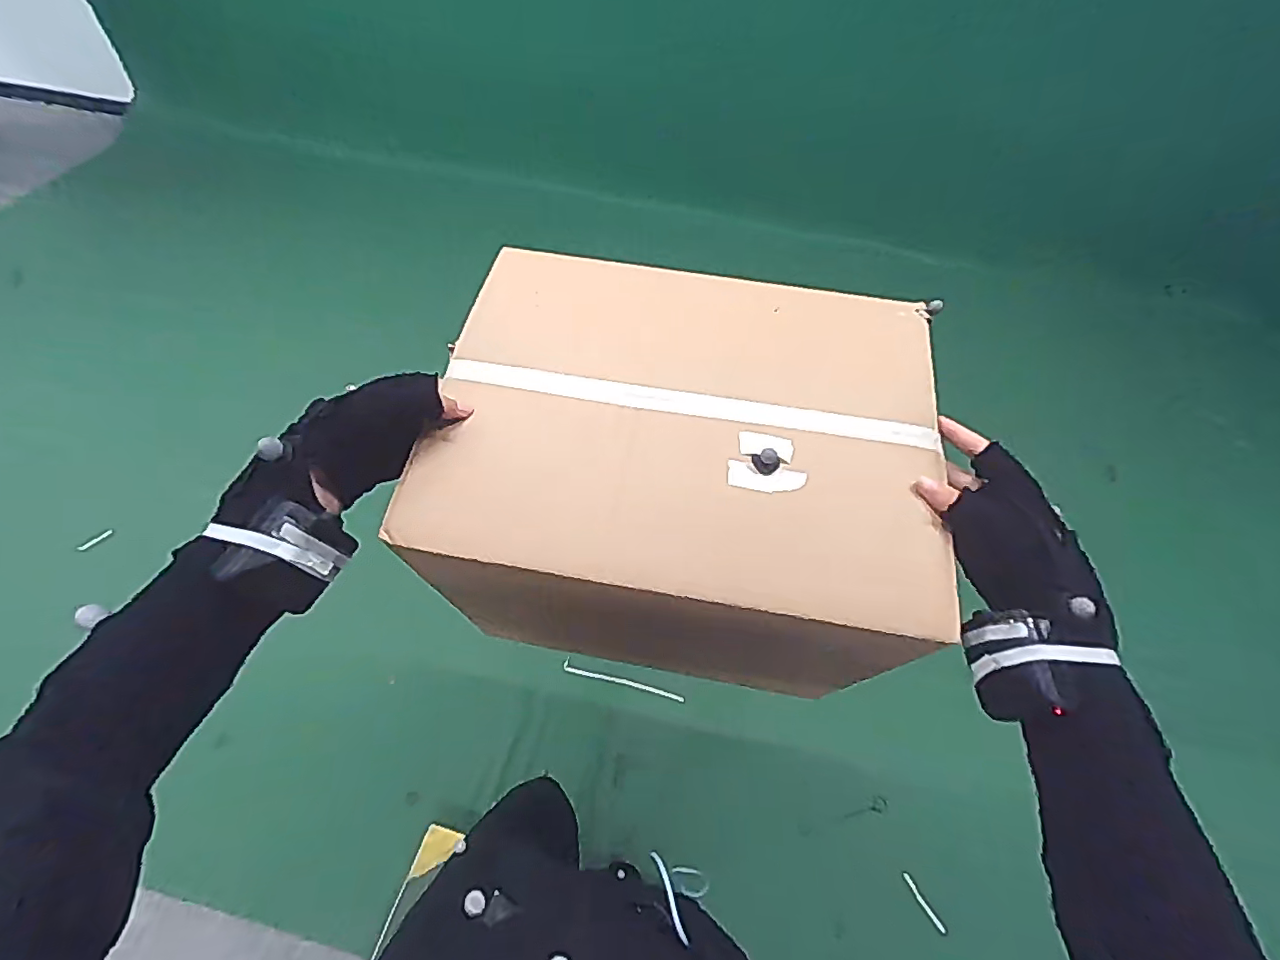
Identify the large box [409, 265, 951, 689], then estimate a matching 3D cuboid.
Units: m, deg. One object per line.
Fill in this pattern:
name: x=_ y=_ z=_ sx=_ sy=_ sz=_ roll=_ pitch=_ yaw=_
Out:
large box: x=0.040 y=0.016 z=0.588 sx=0.408 sy=0.320 sz=0.320 roll=9 pitch=62 yaw=3
